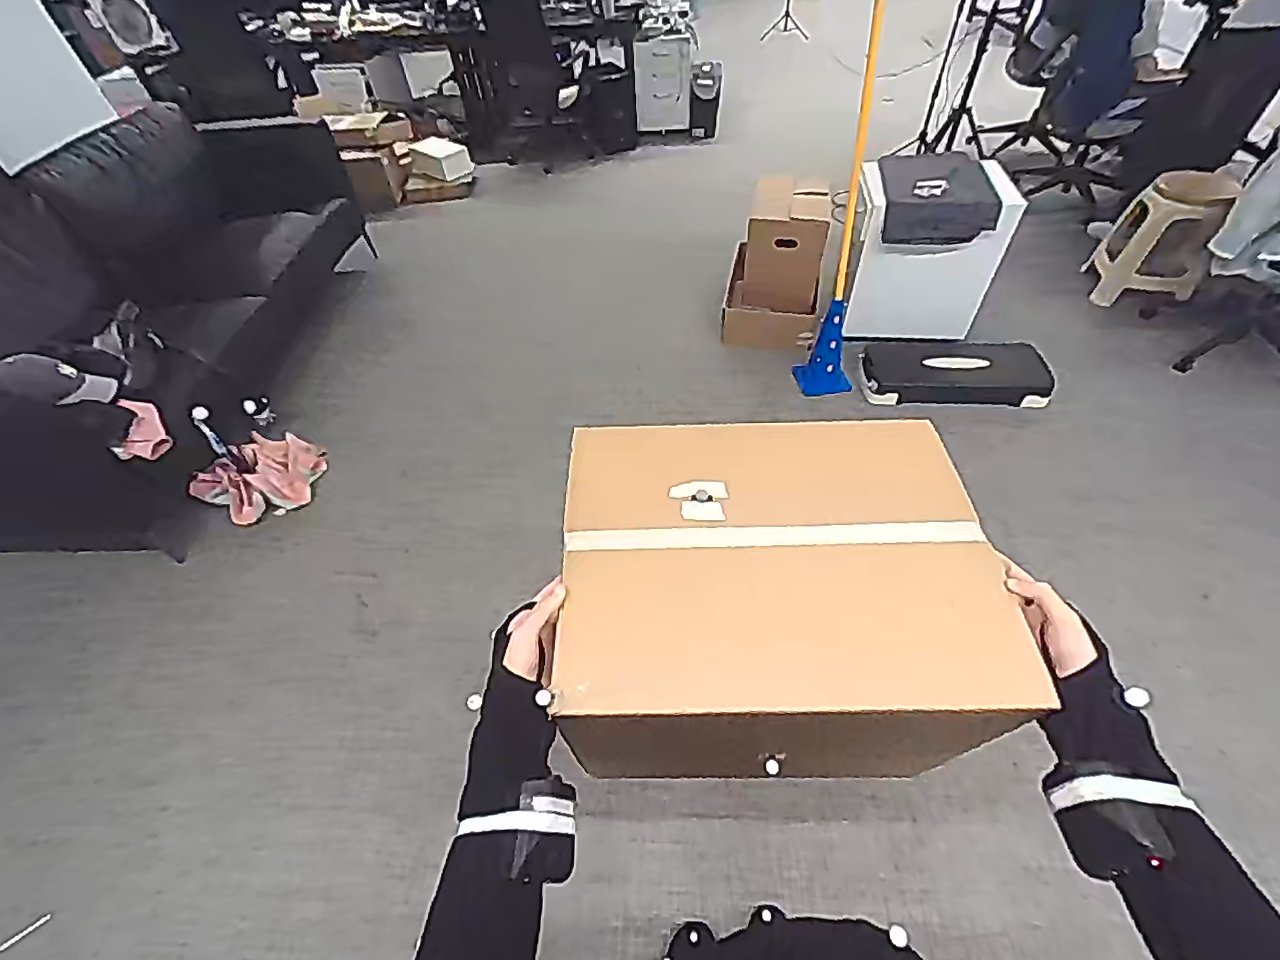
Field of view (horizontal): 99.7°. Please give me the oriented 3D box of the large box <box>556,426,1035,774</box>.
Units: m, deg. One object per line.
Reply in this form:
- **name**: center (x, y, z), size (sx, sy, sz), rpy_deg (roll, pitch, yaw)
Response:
- **large box**: center (0.133, 0.157, 0.651), size (0.408, 0.320, 0.320), rpy_deg (-2, 52, 2)
